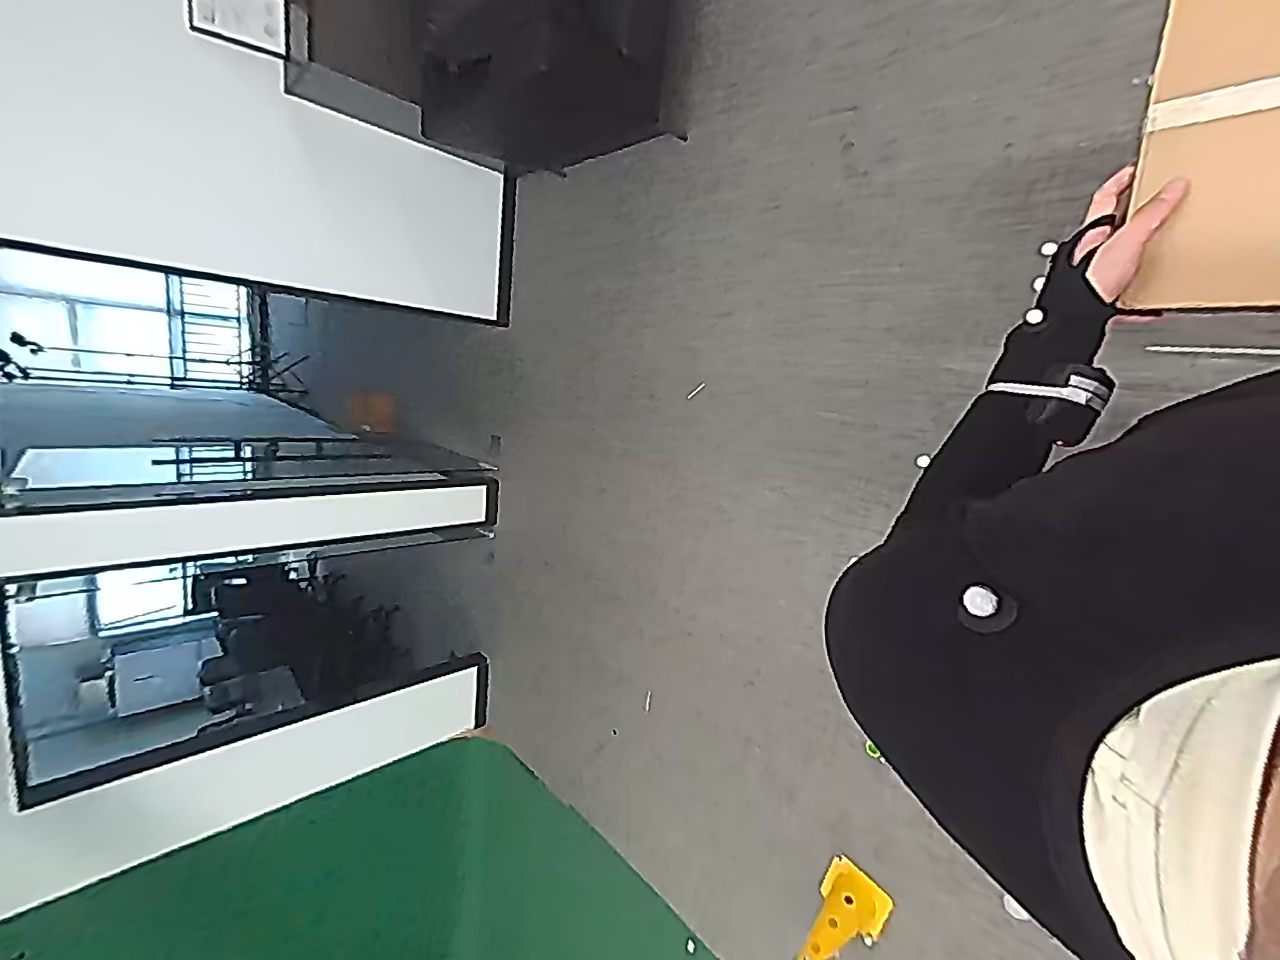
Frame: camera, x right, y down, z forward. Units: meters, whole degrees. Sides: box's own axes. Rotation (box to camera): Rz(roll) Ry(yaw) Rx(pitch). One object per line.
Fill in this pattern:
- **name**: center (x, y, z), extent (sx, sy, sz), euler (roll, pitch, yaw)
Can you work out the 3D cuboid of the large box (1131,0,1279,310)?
- **large box**: center (0.692, -0.310, 0.426), extent (0.408, 0.320, 0.320), euler (14, 112, 45)
